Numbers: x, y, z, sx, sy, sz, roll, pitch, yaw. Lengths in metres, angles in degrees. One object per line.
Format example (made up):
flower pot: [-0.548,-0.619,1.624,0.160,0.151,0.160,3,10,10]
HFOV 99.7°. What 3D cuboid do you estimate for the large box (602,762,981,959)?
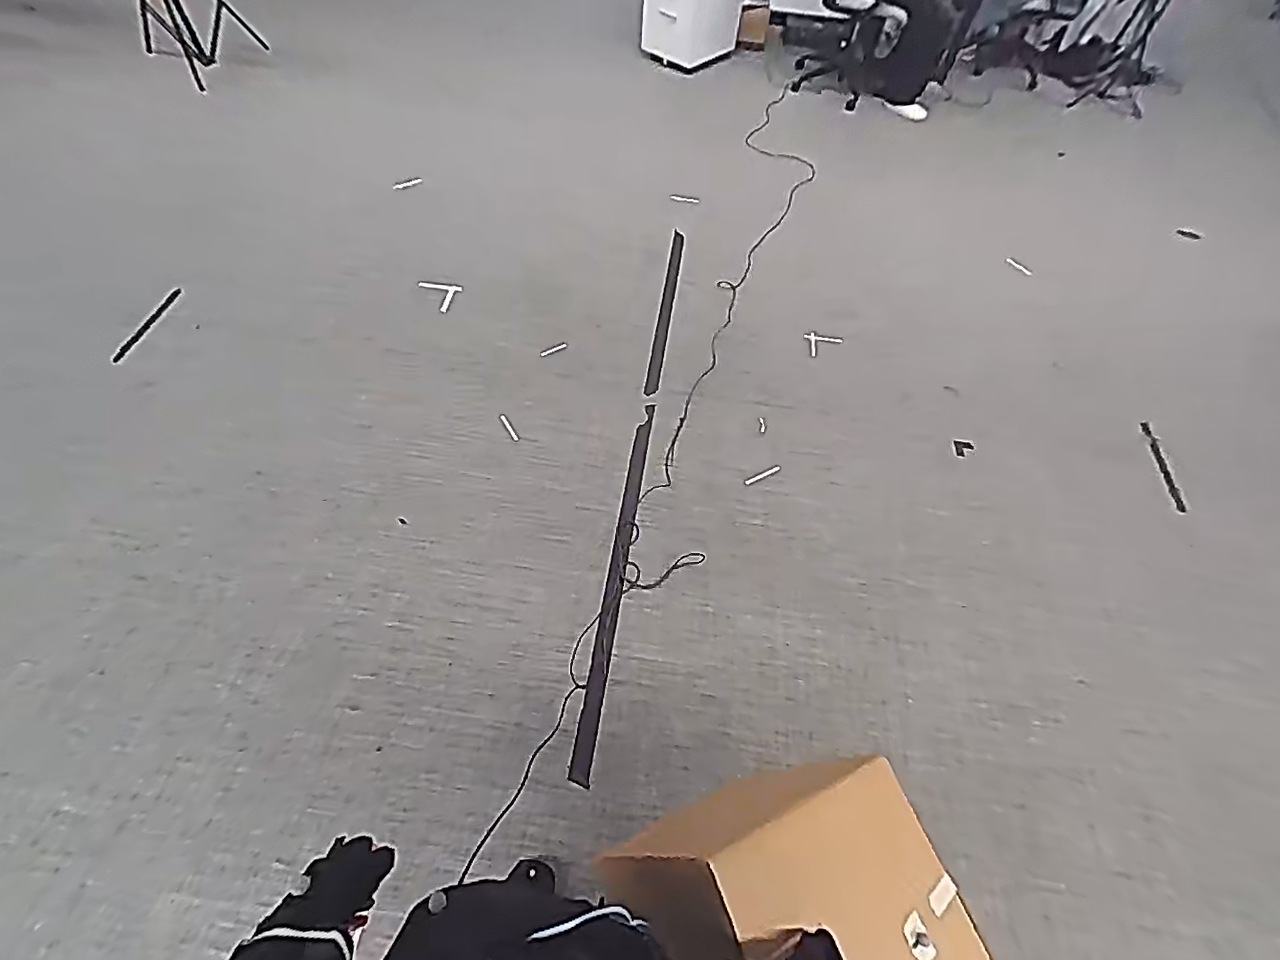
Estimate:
large box: [0.189,0.640,0.770,0.320,0.408,0.320,-8,62,-28]
